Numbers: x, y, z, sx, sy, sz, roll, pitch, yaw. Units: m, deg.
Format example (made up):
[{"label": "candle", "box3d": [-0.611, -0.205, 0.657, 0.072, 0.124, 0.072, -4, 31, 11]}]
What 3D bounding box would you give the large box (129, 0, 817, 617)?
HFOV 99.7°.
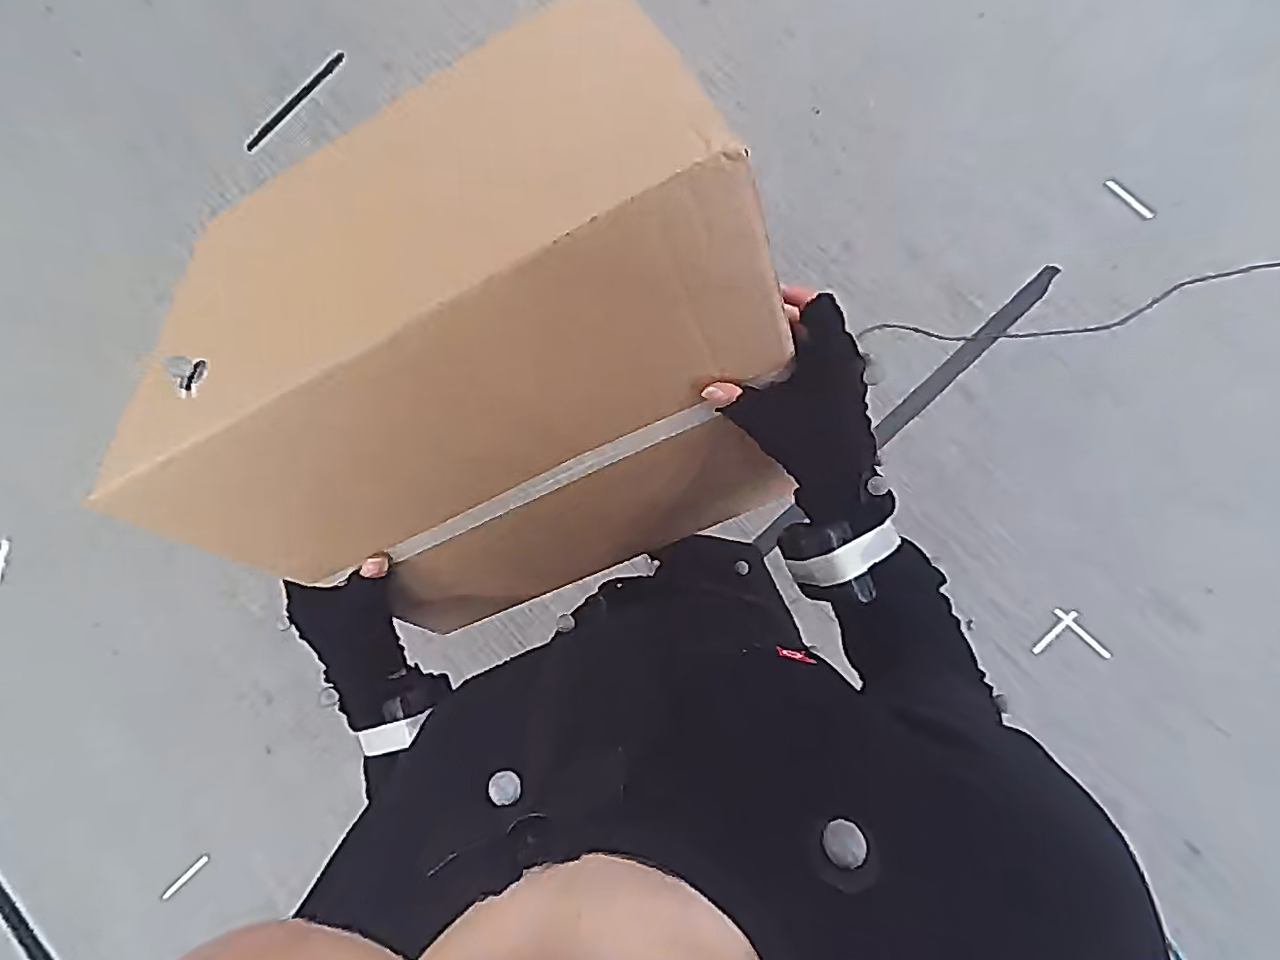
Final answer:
[{"label": "large box", "box3d": [-0.109, -0.125, 0.488, 0.408, 0.320, 0.320, -24, 55, 11]}]
